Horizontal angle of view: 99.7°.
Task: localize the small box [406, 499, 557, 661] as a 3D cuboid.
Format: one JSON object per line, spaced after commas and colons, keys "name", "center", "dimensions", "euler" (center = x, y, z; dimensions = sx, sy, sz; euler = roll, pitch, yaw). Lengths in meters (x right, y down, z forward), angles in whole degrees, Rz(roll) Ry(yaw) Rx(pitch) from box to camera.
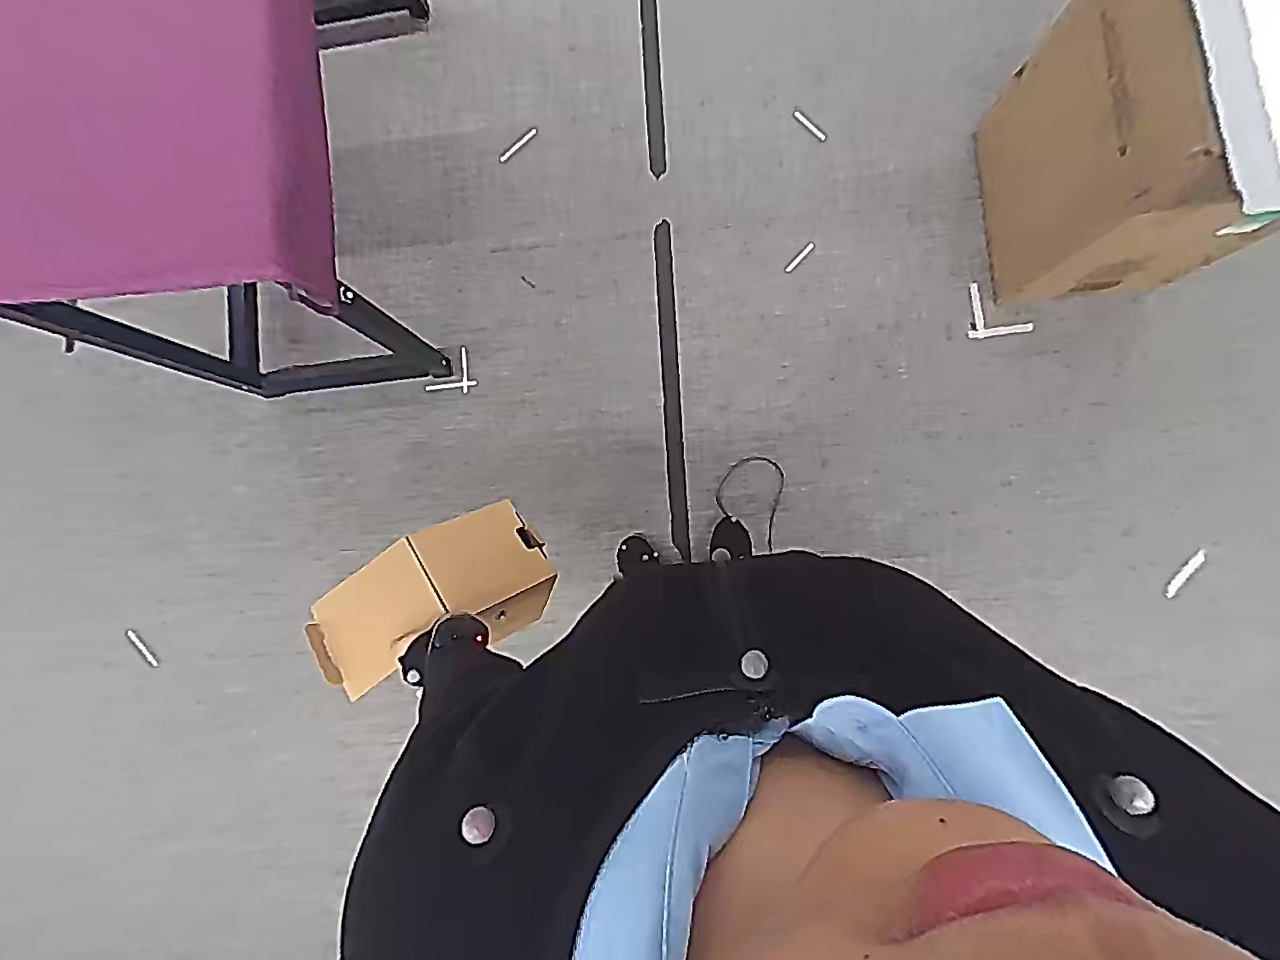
{"name": "small box", "center": [-0.262, 0.165, 0.882], "dimensions": [0.179, 0.176, 0.168], "euler": [-22, 64, -35]}
